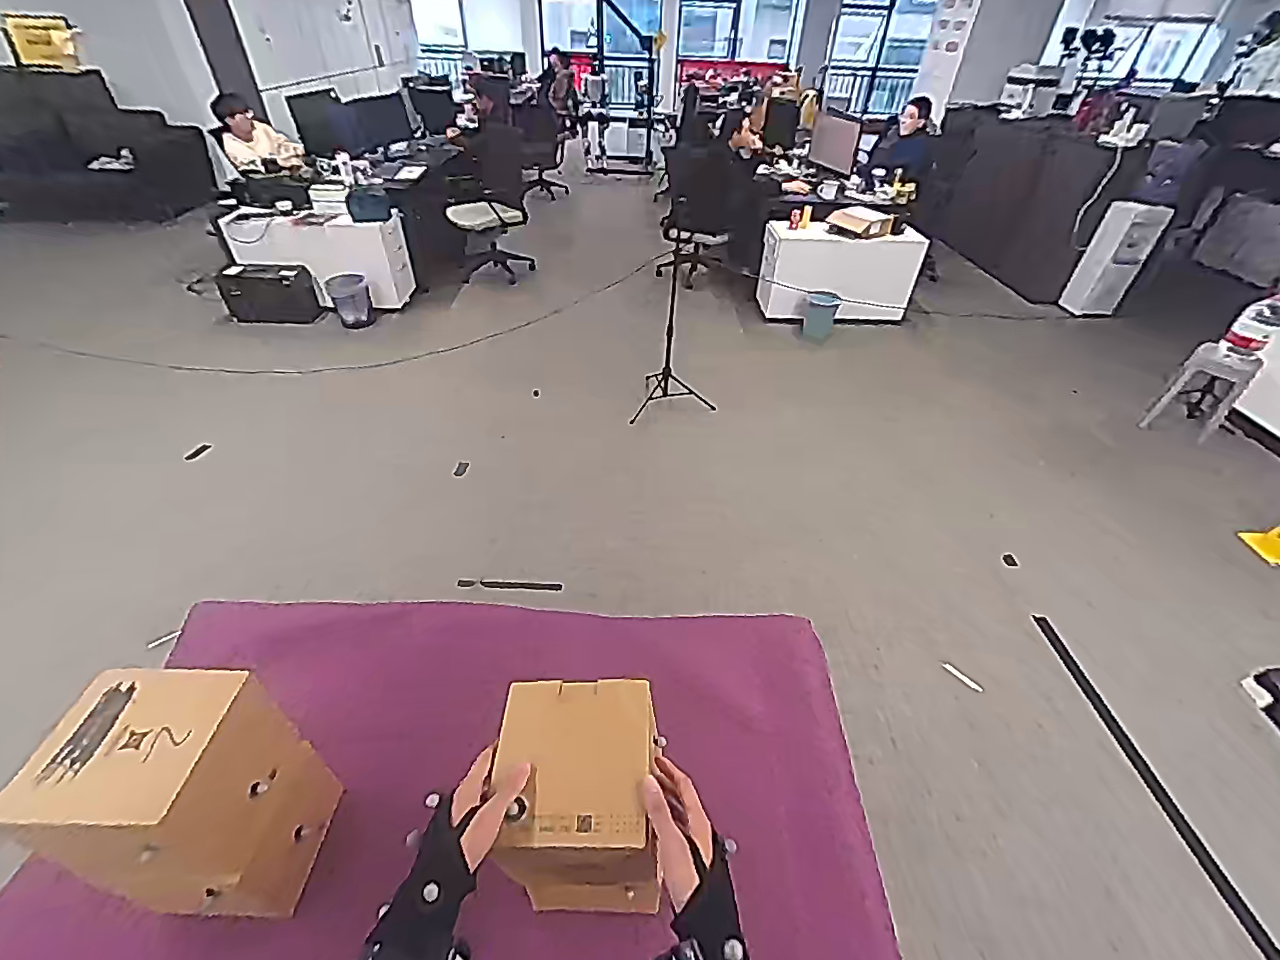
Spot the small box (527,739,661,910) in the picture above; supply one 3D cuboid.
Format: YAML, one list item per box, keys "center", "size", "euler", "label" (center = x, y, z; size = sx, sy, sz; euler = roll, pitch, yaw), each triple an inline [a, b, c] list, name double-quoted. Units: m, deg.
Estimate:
- center: [-0.062, 0.476, 0.753]
  size: [0.179, 0.176, 0.168]
  euler: [3, 40, -1]
  label: "small box"

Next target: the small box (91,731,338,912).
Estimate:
- center: [-0.550, 0.465, 0.736]
  size: [0.179, 0.176, 0.168]
  euler: [3, 40, 0]
  label: "small box"

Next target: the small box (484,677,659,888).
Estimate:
- center: [-0.066, 0.347, 0.620]
  size: [0.168, 0.179, 0.176]
  euler: [-3, 43, 5]
  label: "small box"
